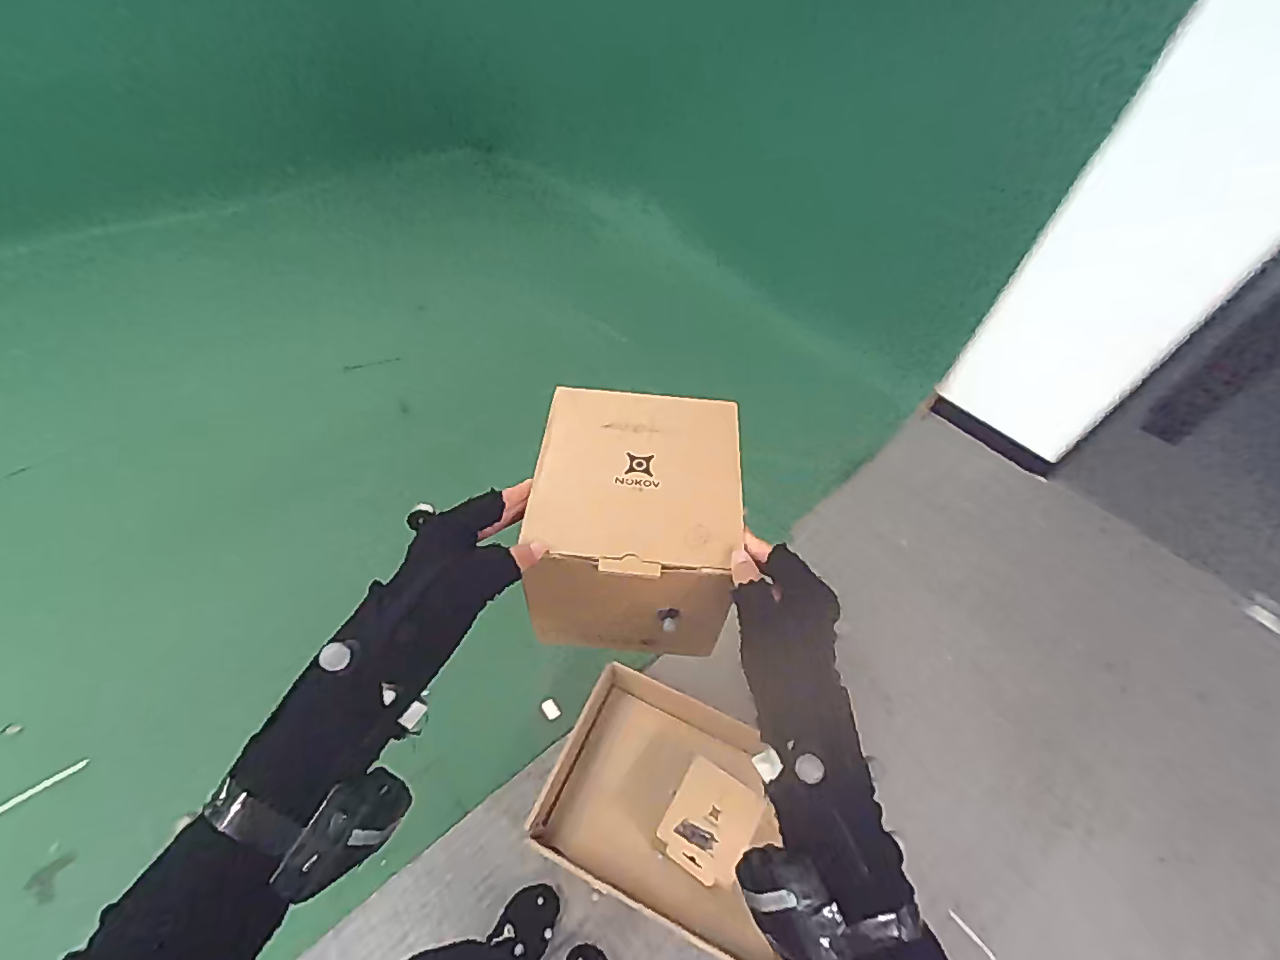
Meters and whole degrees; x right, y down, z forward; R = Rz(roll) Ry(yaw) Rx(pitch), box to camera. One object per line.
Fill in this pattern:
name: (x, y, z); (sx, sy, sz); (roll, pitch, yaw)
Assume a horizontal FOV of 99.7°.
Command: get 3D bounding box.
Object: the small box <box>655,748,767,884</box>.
small box: (0.143, 0.713, 1.142); (0.168, 0.176, 0.179); (29, 54, 18)
